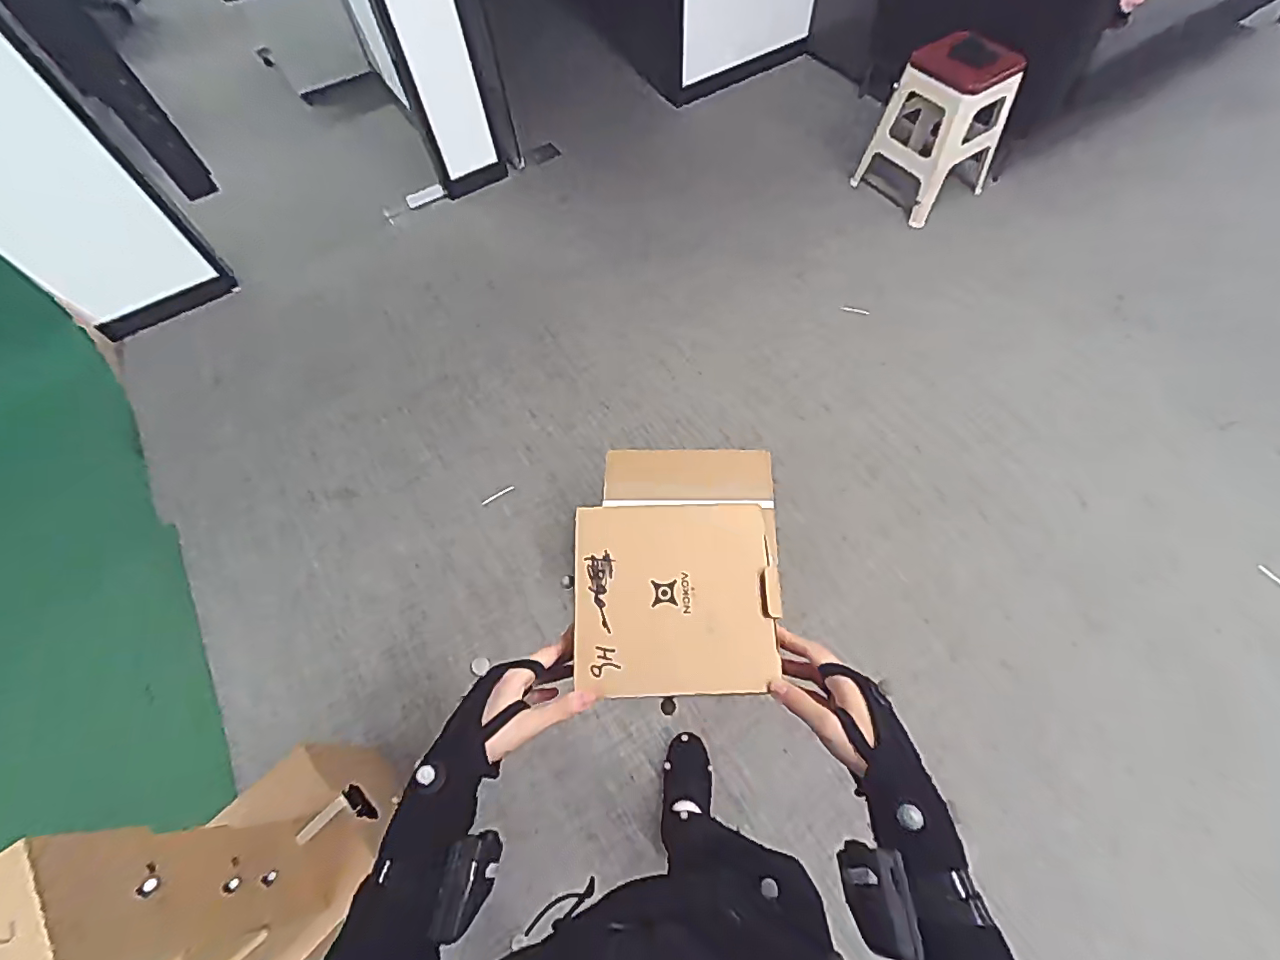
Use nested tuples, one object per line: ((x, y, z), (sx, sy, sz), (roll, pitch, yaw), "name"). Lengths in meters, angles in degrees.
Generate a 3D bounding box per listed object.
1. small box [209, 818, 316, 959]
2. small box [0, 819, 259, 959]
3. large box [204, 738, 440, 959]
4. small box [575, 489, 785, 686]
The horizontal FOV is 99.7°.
((-0.665, 0.678, 0.867), (0.168, 0.176, 0.179), (-37, 67, -17), "small box")
((-0.671, 0.595, 0.728), (0.179, 0.176, 0.168), (-36, 67, -17), "small box")
((-0.698, 0.791, 1.086), (0.320, 0.320, 0.408), (40, 71, 21), "large box")
((0.028, 0.115, 0.541), (0.179, 0.176, 0.168), (1, 68, -4), "small box")
